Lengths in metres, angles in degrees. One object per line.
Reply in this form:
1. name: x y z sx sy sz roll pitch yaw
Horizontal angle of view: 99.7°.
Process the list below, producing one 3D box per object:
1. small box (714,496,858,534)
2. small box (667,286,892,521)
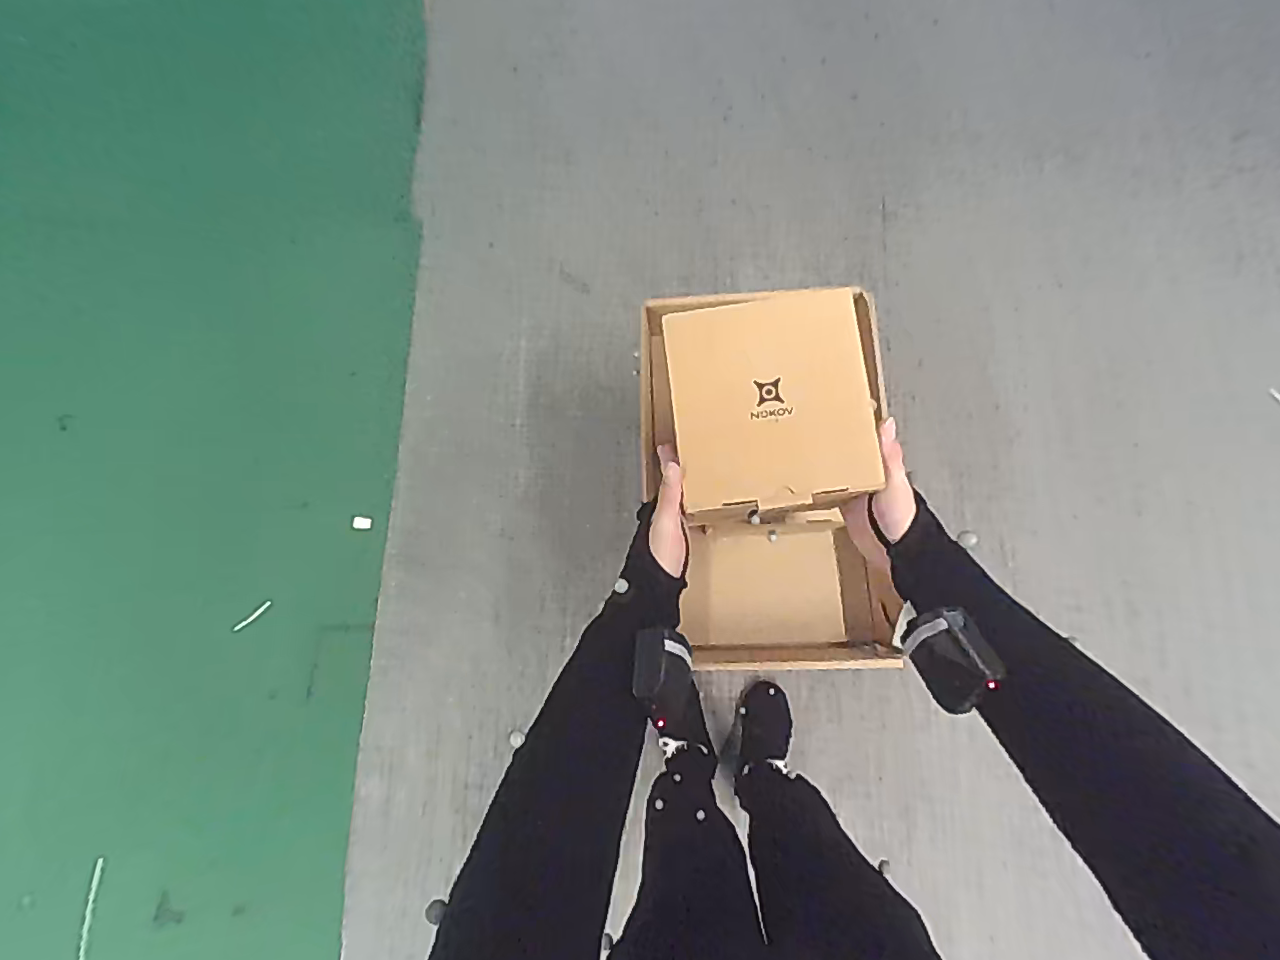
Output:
1. small box: 0.186 -0.021 0.750 0.168 0.176 0.179 -2 80 4
2. small box: 0.116 -0.060 0.526 0.168 0.176 0.179 -8 83 3
